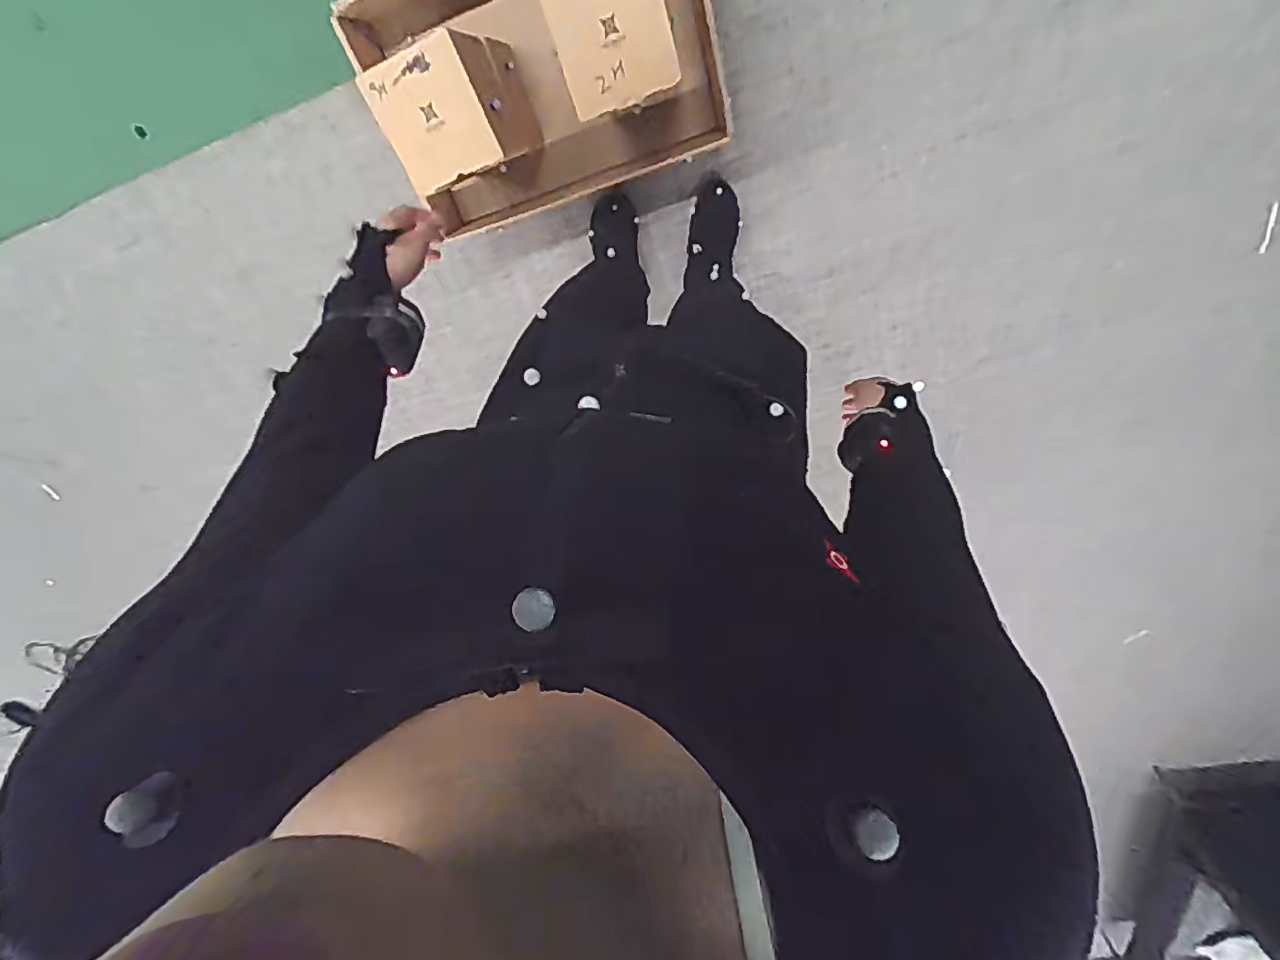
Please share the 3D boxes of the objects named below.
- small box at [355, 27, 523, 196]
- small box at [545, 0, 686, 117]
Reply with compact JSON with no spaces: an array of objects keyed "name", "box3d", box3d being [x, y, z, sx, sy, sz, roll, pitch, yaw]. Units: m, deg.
[{"name":"small box","box3d":[-0.312,-0.602,0.887,0.168,0.176,0.179,-16,125,14]},{"name":"small box","box3d":[-0.034,-0.678,0.816,0.168,0.176,0.179,-13,126,13]}]
